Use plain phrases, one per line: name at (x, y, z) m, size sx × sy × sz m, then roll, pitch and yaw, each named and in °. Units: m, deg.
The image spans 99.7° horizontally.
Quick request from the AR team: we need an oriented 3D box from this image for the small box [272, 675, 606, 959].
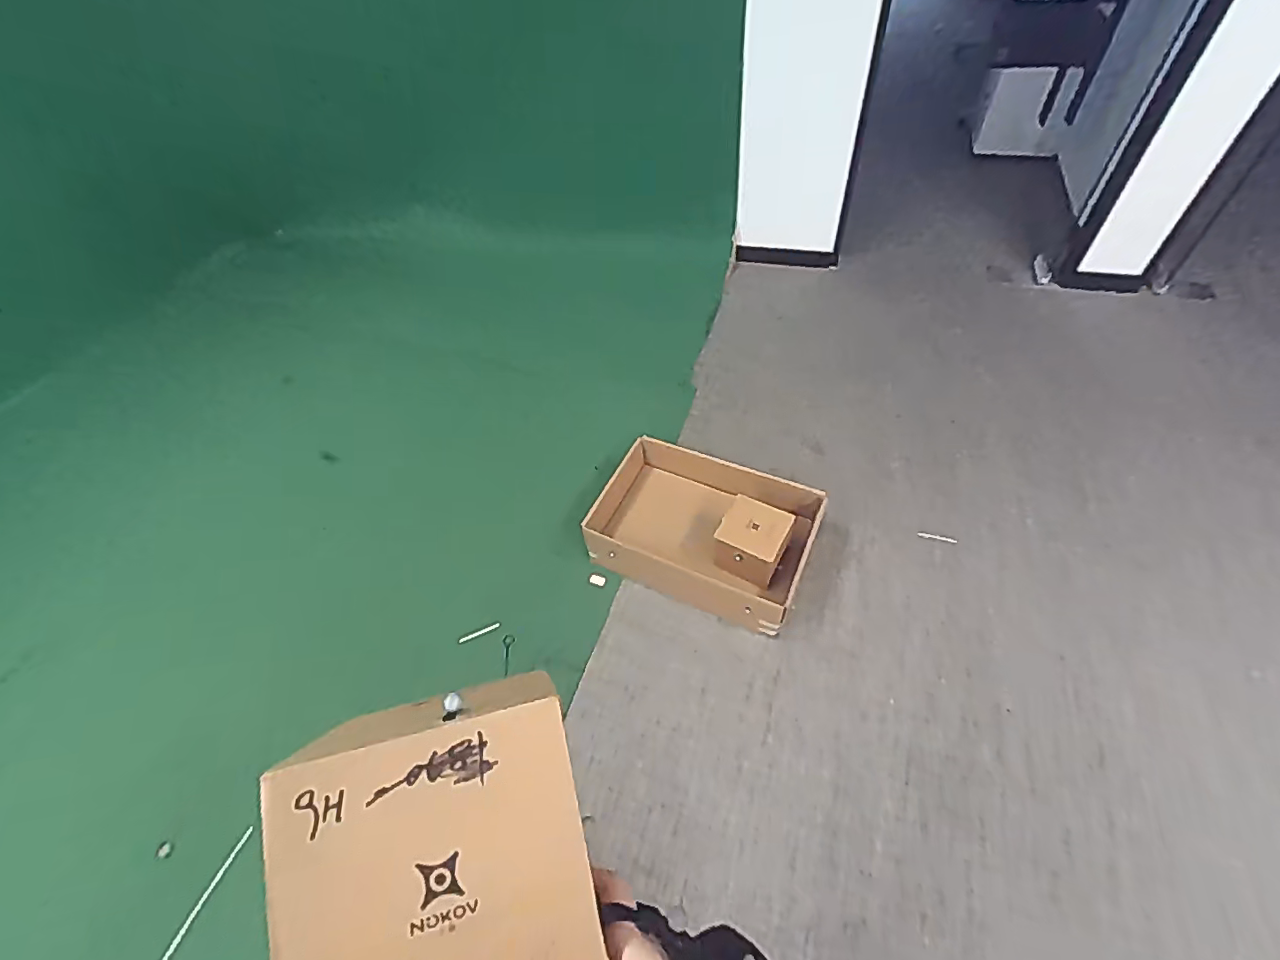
small box at (-0.125, 0.250, 0.377) m, size 0.168 × 0.176 × 0.179 m, roll -9°, pitch 79°, yaw -16°
